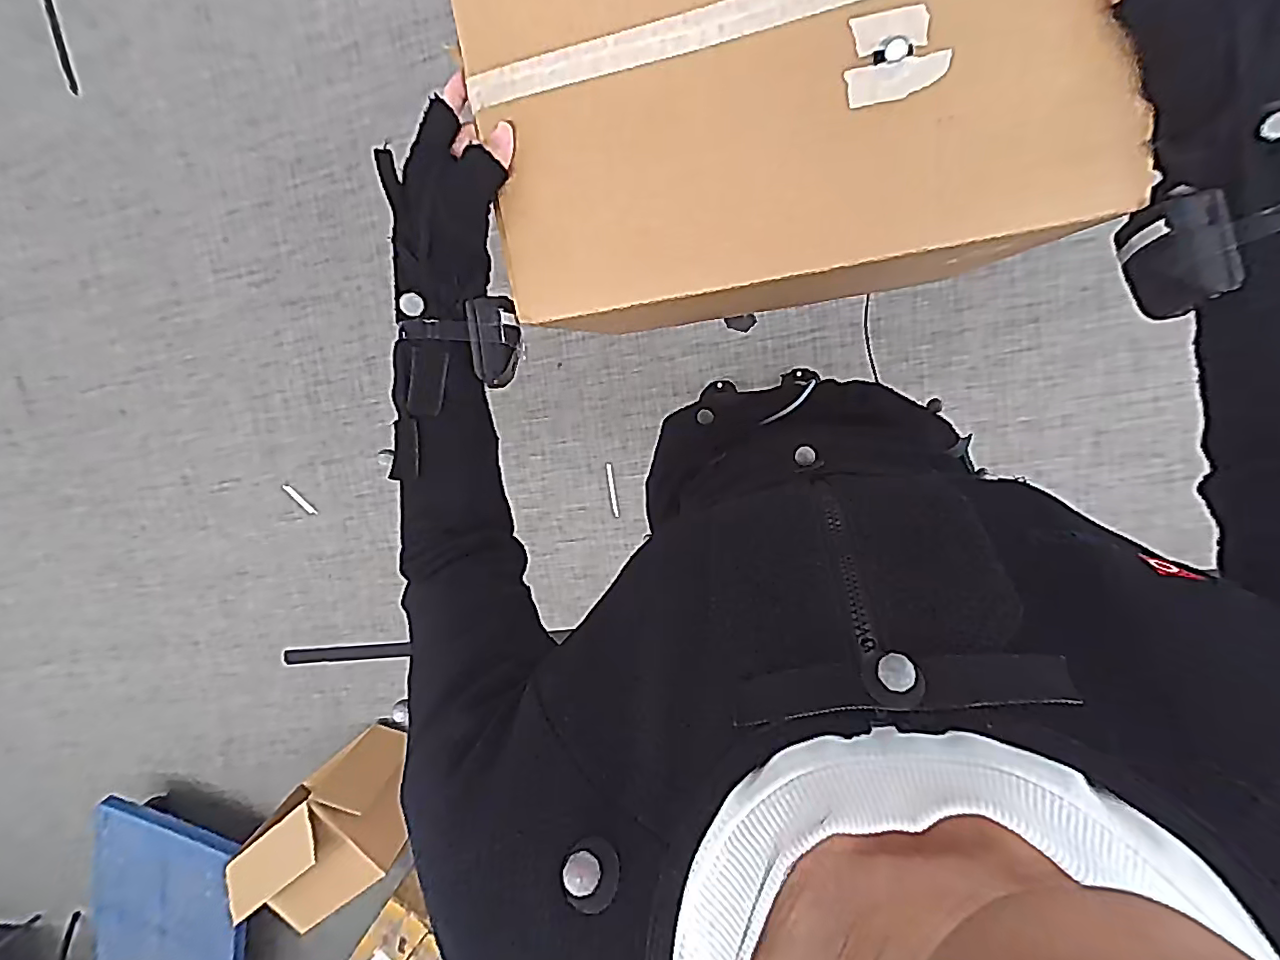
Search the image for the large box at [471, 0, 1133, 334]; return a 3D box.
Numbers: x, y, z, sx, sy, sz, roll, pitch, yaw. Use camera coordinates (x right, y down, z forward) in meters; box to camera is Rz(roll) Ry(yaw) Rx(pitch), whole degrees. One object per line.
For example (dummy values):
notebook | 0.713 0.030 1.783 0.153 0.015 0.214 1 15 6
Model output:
large box | 0.109 -0.329 0.488 0.408 0.320 0.320 -7 102 11
